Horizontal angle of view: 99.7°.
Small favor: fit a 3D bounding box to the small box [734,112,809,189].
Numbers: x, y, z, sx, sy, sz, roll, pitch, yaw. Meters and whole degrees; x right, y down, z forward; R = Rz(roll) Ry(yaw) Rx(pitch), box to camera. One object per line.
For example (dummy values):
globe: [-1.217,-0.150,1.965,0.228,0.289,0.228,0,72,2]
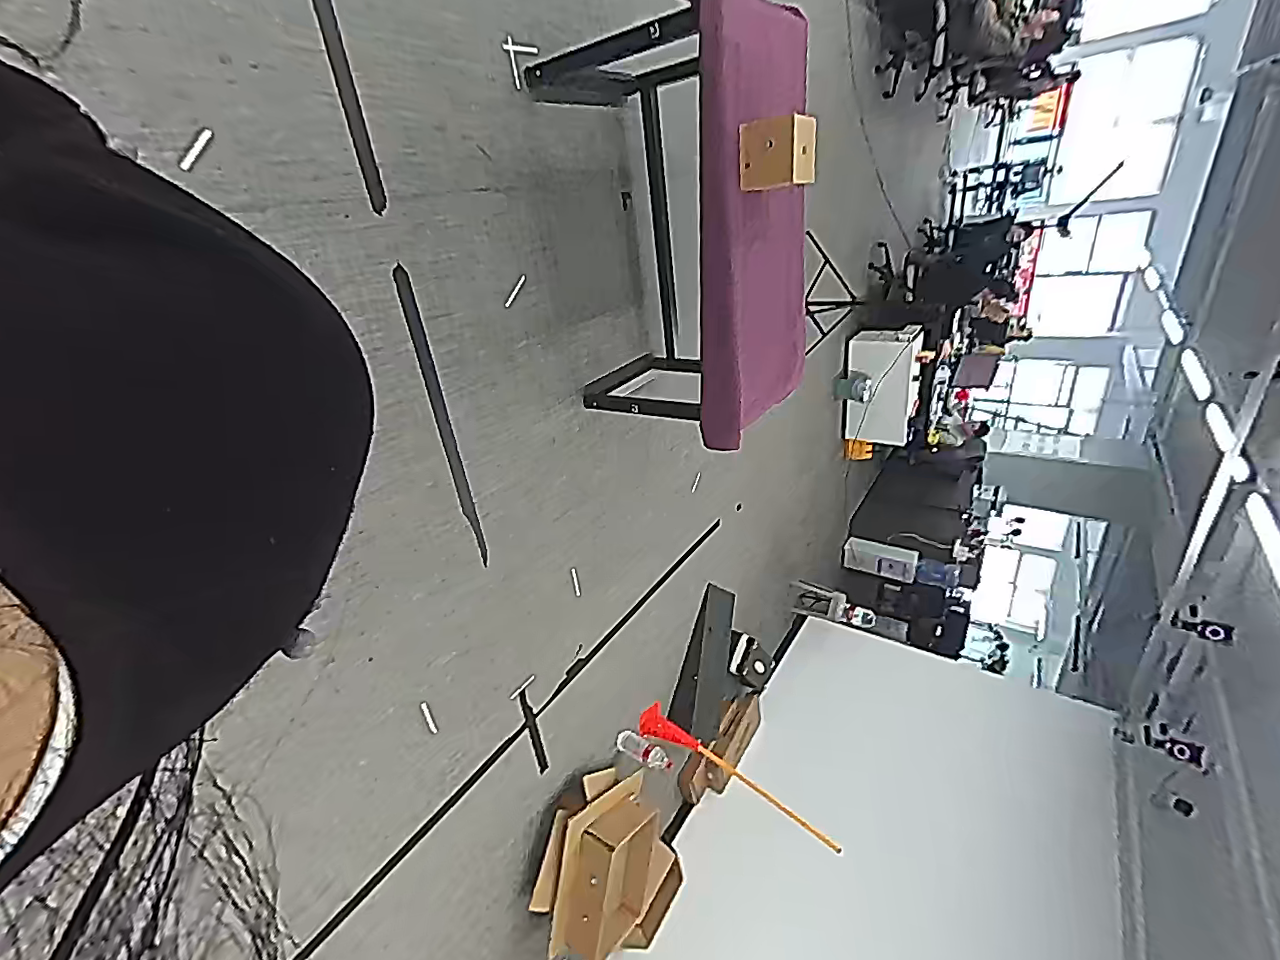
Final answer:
small box: [0.385,-0.961,1.588,0.179,0.176,0.168,-37,129,-46]
